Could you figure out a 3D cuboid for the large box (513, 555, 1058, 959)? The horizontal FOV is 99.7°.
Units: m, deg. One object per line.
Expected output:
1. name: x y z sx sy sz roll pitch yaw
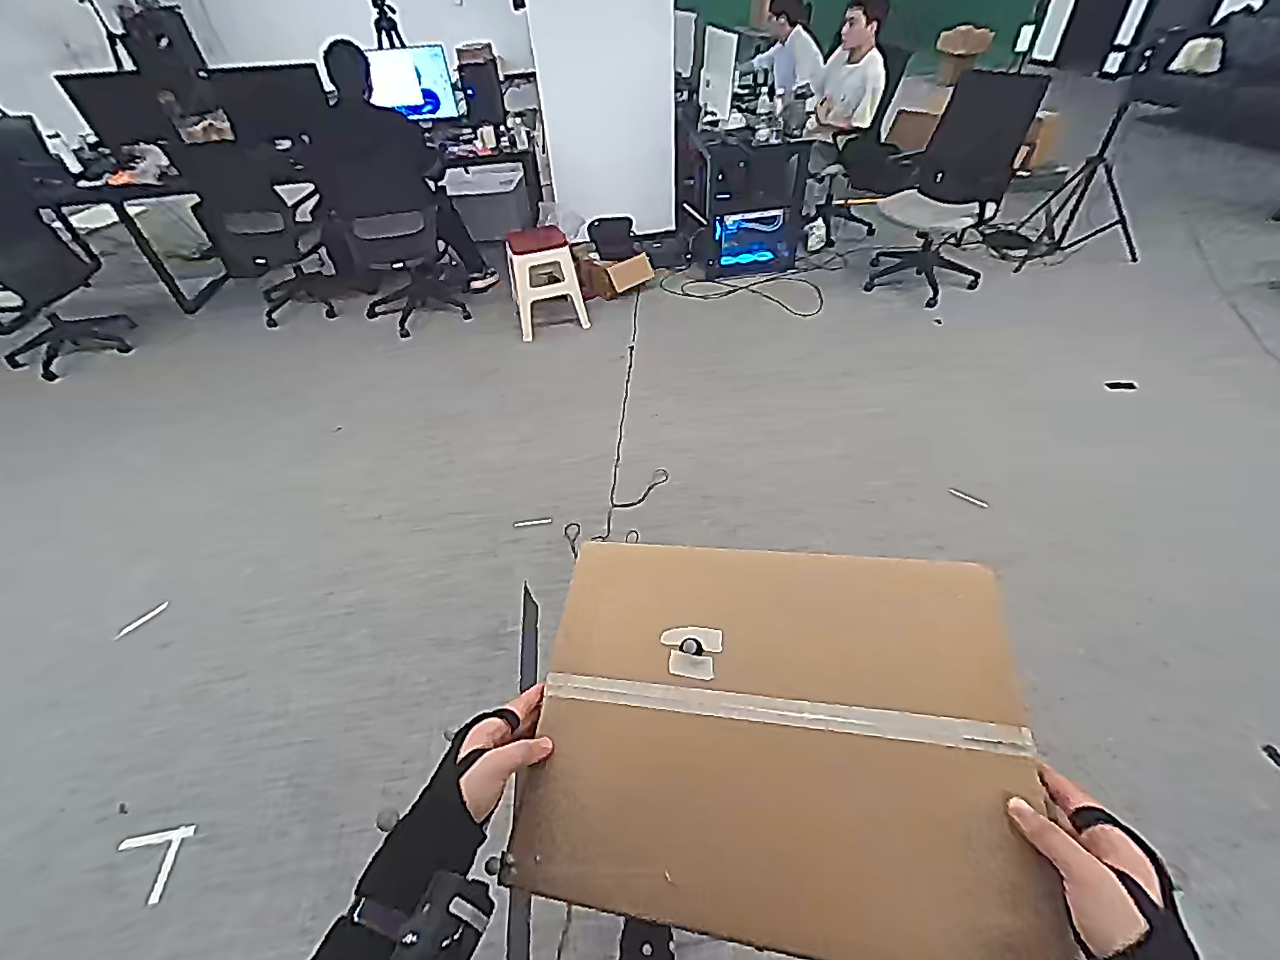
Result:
1. large box: 0.136 0.295 0.603 0.408 0.320 0.320 0 54 14
